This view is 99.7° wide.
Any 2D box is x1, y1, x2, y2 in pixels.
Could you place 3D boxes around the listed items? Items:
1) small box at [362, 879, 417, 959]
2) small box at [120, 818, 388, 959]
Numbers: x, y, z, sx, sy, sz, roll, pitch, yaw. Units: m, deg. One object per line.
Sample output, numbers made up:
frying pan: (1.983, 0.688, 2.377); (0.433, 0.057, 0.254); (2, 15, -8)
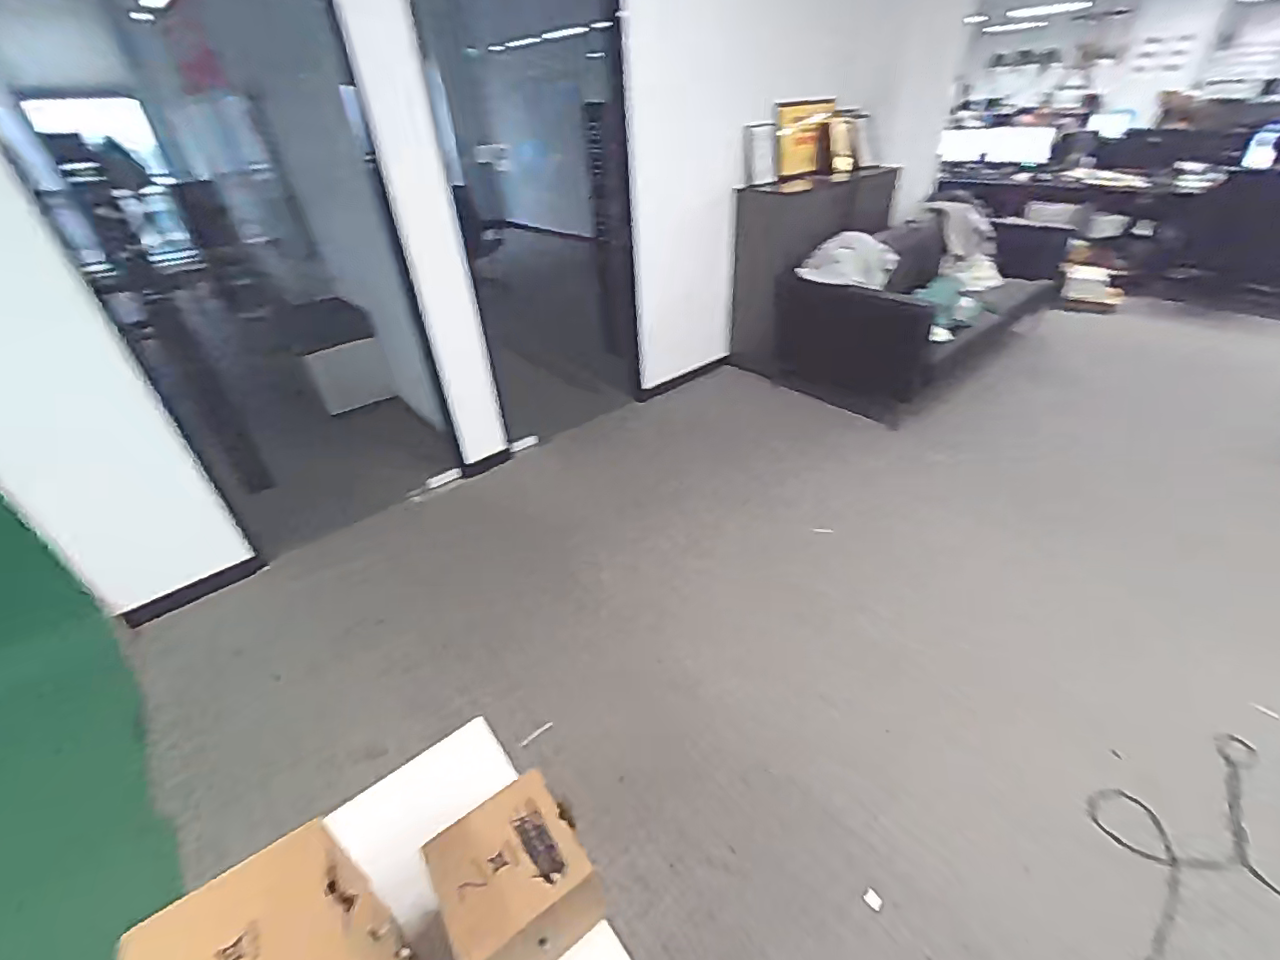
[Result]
small box: (-0.363, 0.638, 0.636); (0.179, 0.176, 0.168); (-28, 42, -30)
small box: (-0.372, 0.503, 0.544); (0.179, 0.176, 0.168); (-24, 39, -30)
